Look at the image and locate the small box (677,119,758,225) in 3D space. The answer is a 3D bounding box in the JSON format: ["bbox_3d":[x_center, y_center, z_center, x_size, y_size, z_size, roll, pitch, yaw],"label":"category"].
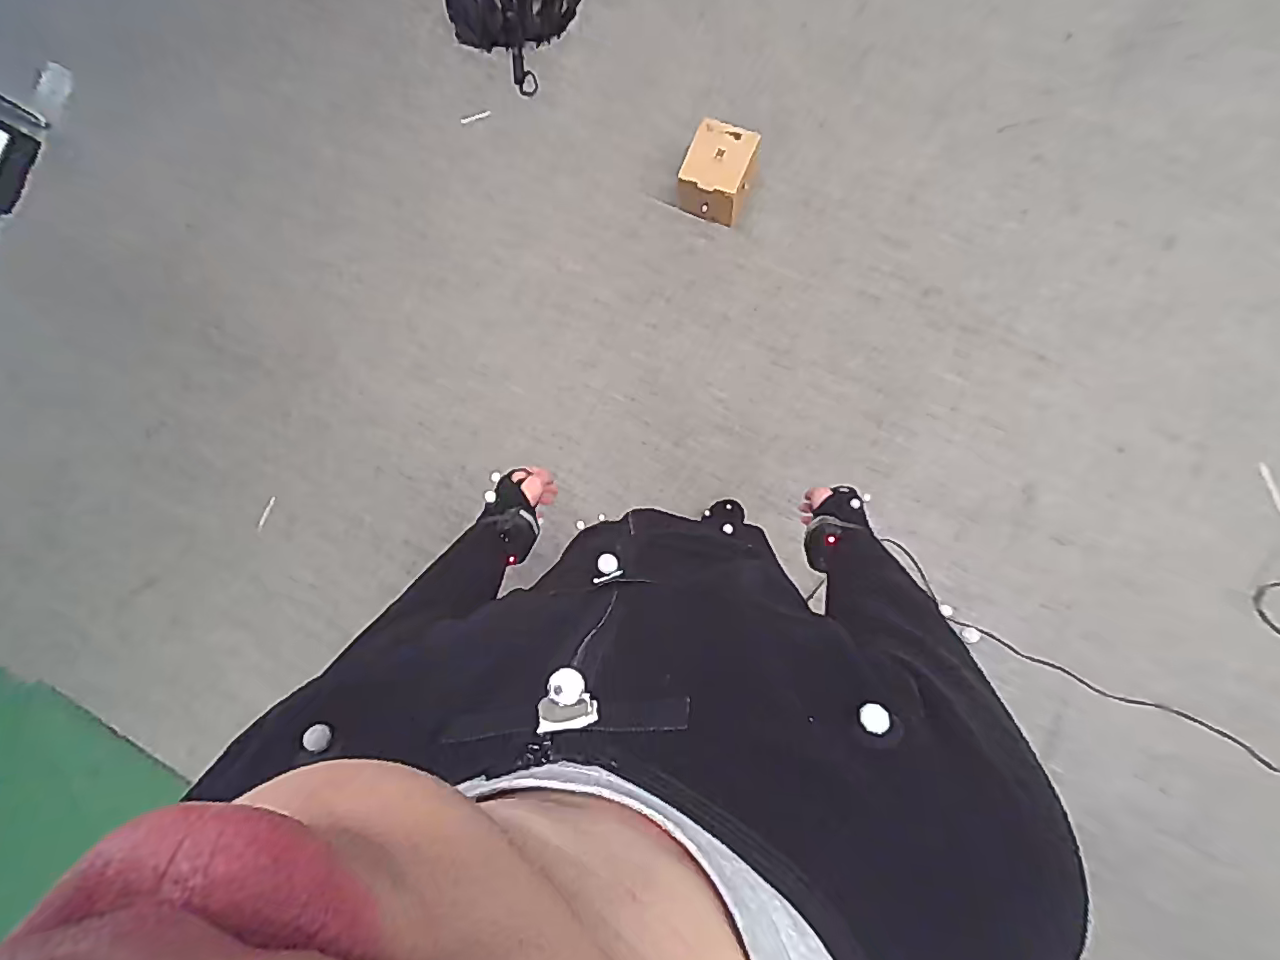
[{"bbox_3d":[0.218,-0.849,1.510,0.168,0.176,0.179,24,92,9],"label":"small box"}]
